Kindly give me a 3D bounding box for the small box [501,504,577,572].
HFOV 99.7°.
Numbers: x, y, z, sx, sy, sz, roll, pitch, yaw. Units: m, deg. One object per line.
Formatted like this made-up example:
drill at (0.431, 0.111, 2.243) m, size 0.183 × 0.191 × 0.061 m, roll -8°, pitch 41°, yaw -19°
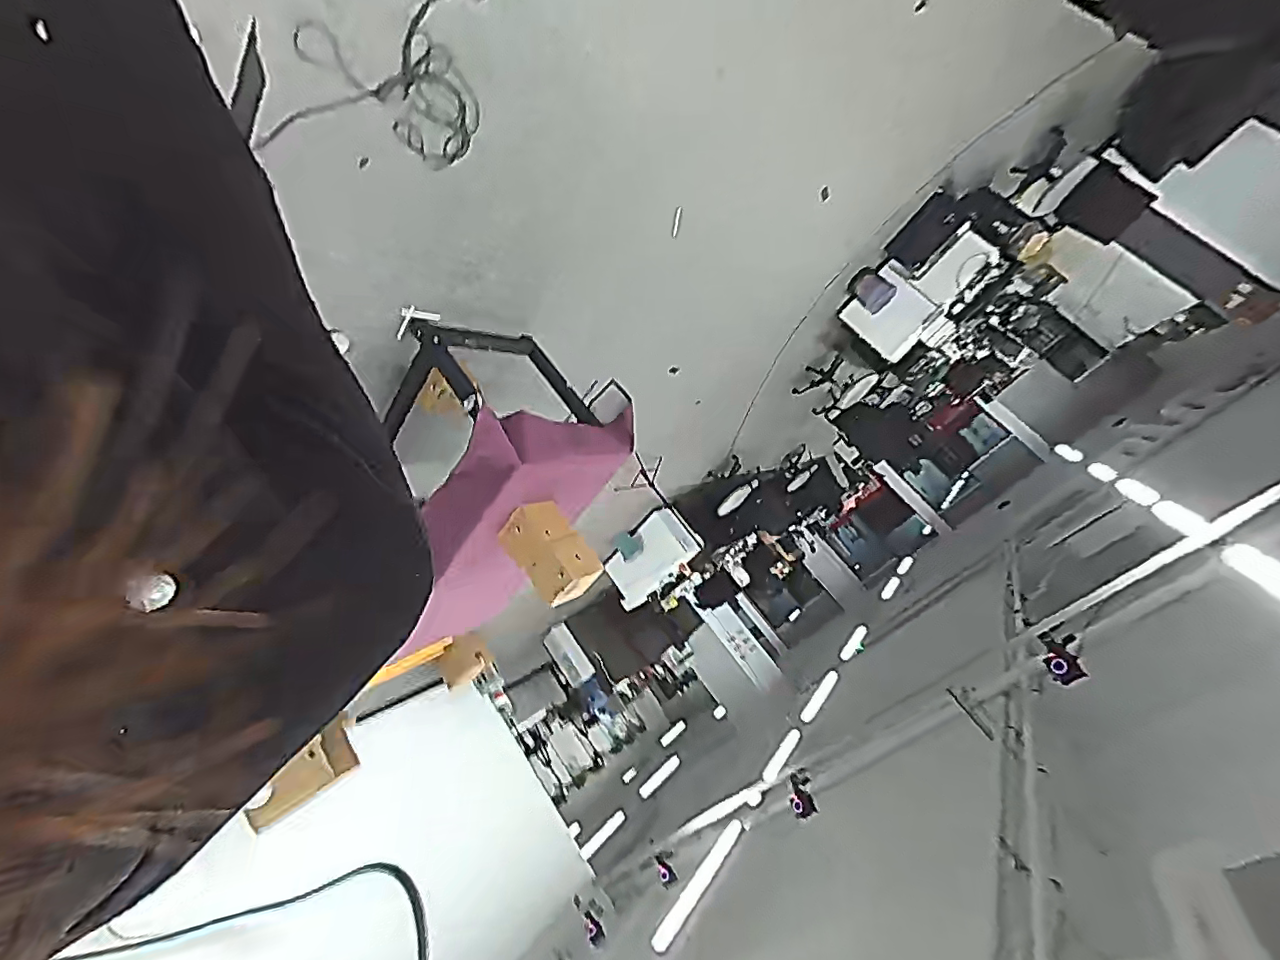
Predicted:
small box at (-0.369, 0.202, 1.966) m, size 0.168 × 0.176 × 0.179 m, roll -49°, pitch 159°, yaw 28°
